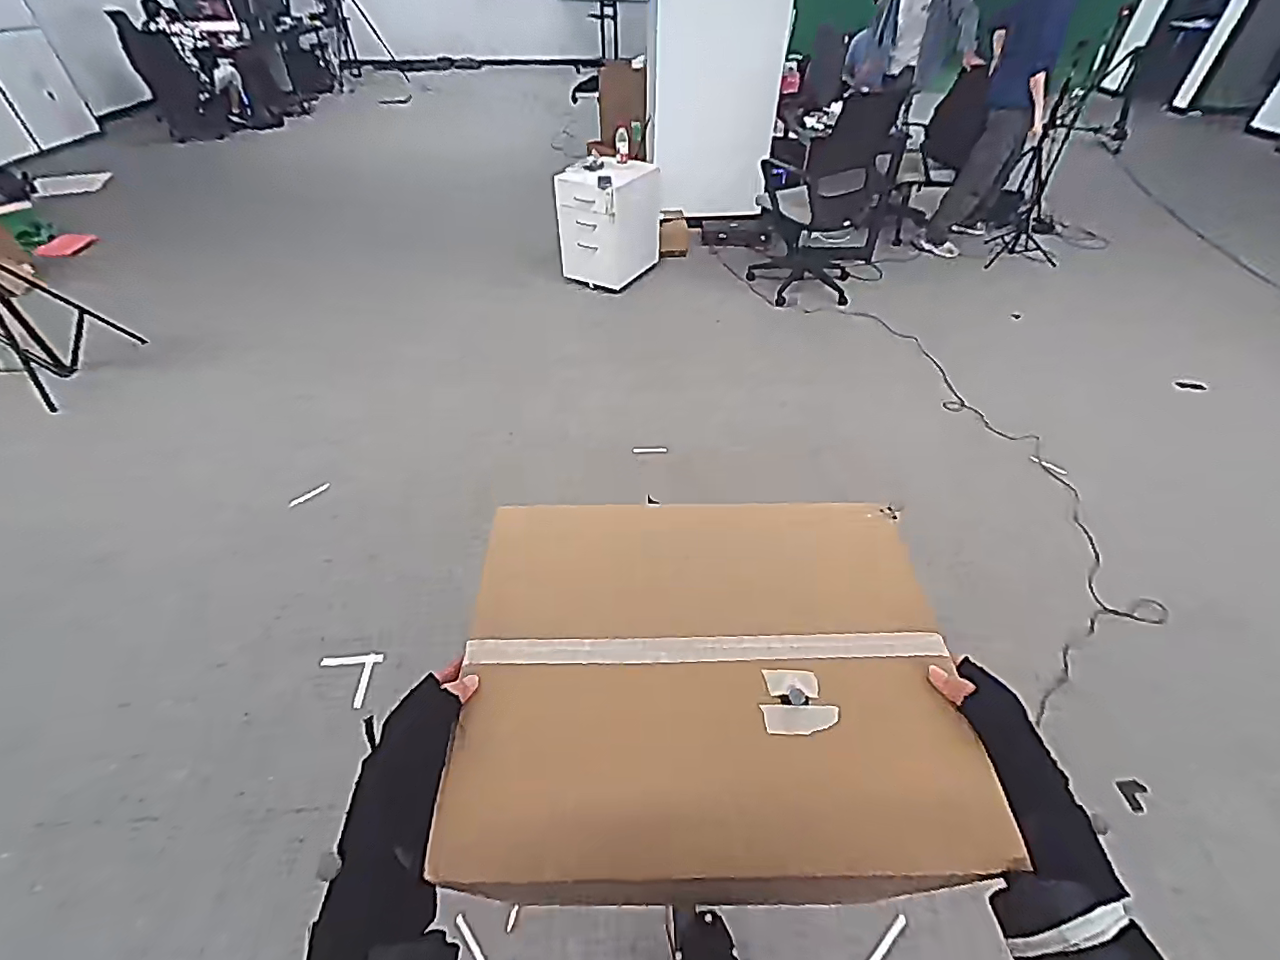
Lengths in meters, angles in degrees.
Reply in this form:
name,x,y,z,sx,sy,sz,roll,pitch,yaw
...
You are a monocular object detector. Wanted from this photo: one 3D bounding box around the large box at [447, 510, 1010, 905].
name,x,y,z,sx,sy,sz,roll,pitch,yaw
large box,0.058,0.248,0.581,0.408,0.320,0.320,0,50,-1
